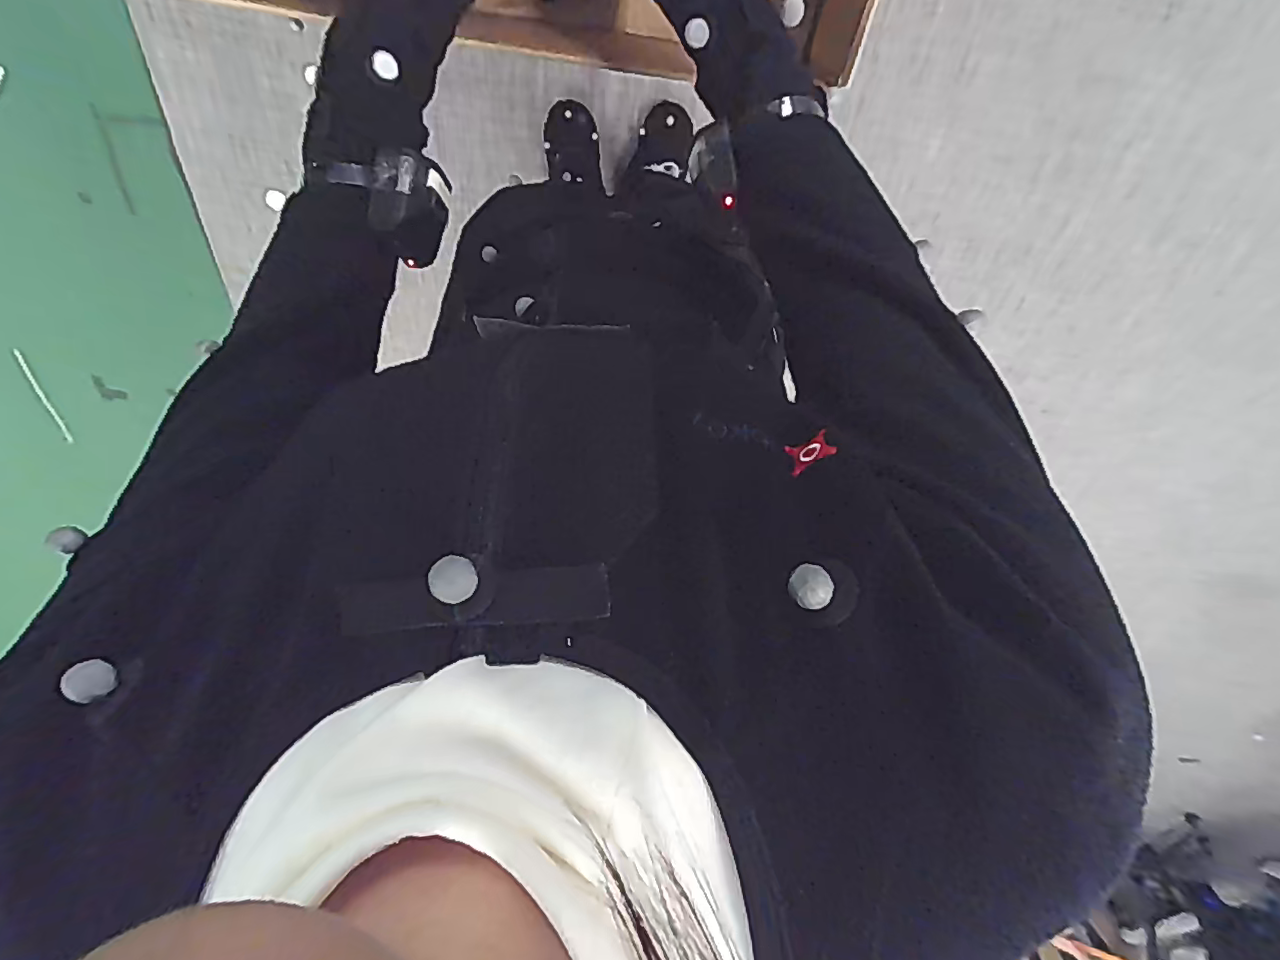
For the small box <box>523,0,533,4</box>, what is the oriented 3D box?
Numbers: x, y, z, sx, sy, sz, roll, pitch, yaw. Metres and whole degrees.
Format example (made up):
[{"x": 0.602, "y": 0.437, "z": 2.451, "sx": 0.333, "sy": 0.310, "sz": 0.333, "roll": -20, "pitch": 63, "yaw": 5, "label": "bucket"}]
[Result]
[{"x": -0.079, "y": -0.496, "z": 0.404, "sx": 0.168, "sy": 0.176, "sz": 0.179, "roll": -11, "pitch": 128, "yaw": 14, "label": "small box"}]
